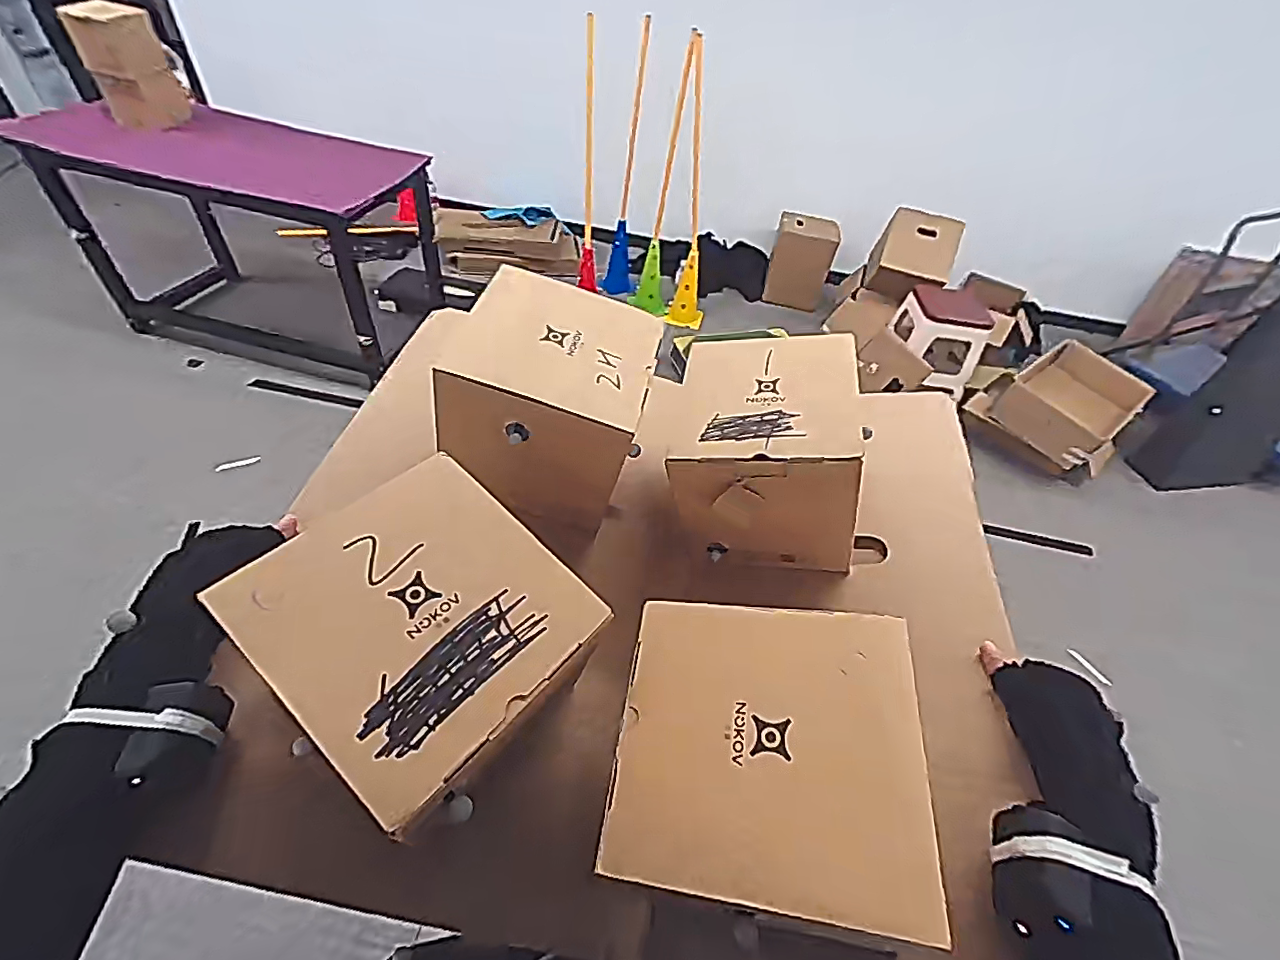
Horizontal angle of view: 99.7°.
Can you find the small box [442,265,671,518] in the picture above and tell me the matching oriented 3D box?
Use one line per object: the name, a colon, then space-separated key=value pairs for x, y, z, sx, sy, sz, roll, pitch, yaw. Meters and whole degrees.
small box: x=-0.087 y=-0.083 z=0.564 sx=0.179 sy=0.176 sz=0.168 roll=19 pitch=52 yaw=-5
